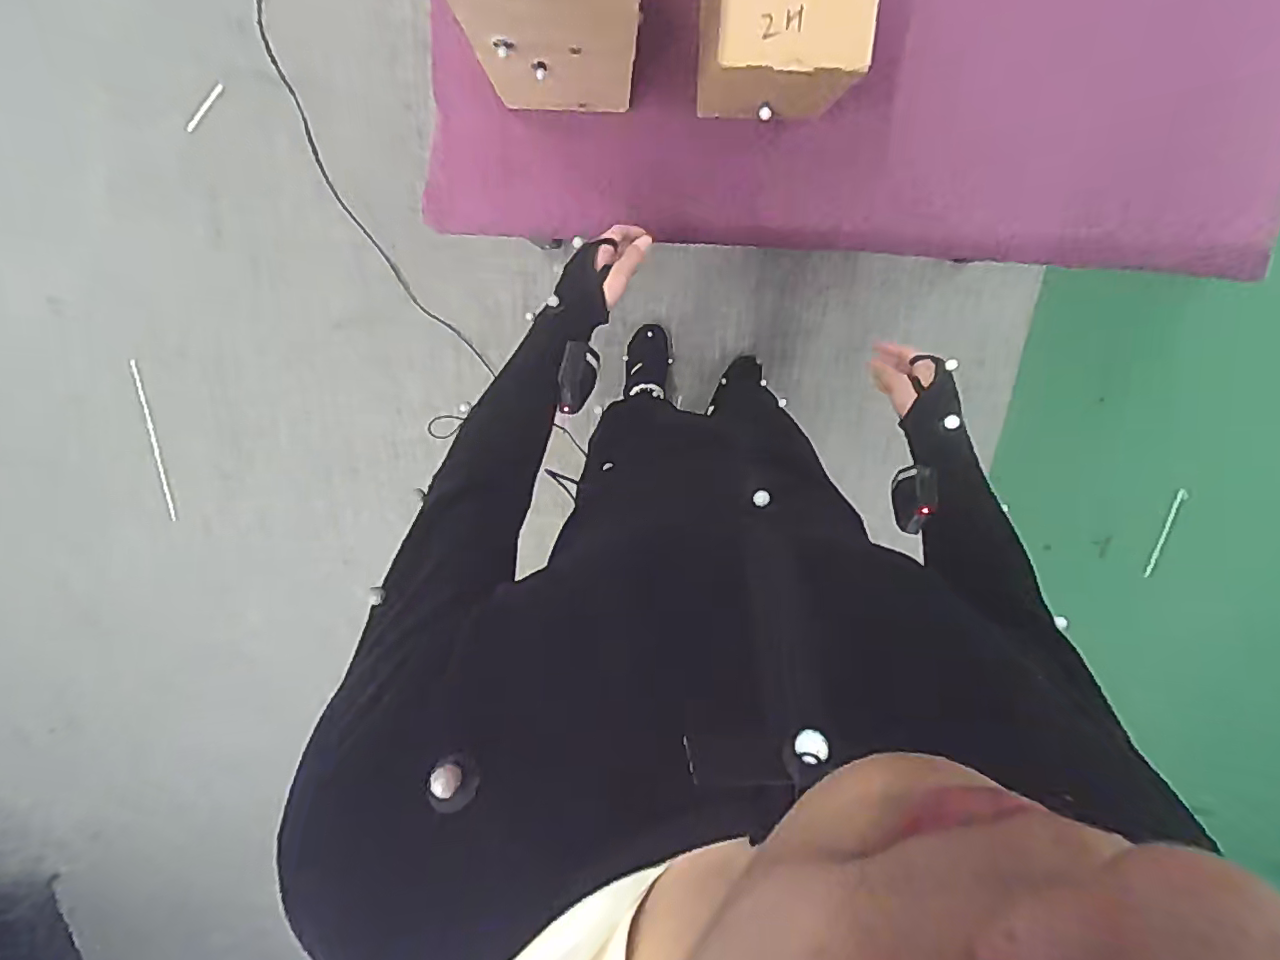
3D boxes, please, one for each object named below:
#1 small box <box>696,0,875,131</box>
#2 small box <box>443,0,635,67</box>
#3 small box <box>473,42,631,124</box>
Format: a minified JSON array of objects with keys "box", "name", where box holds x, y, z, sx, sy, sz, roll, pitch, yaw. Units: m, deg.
[{"box":[0.159,-0.537,0.629,0.168,0.176,0.179,1,108,-2],"name":"small box"},{"box":[-0.085,-0.489,0.464,0.168,0.176,0.179,1,107,-3],"name":"small box"},{"box":[-0.092,-0.540,0.620,0.168,0.176,0.179,1,107,-1],"name":"small box"}]
